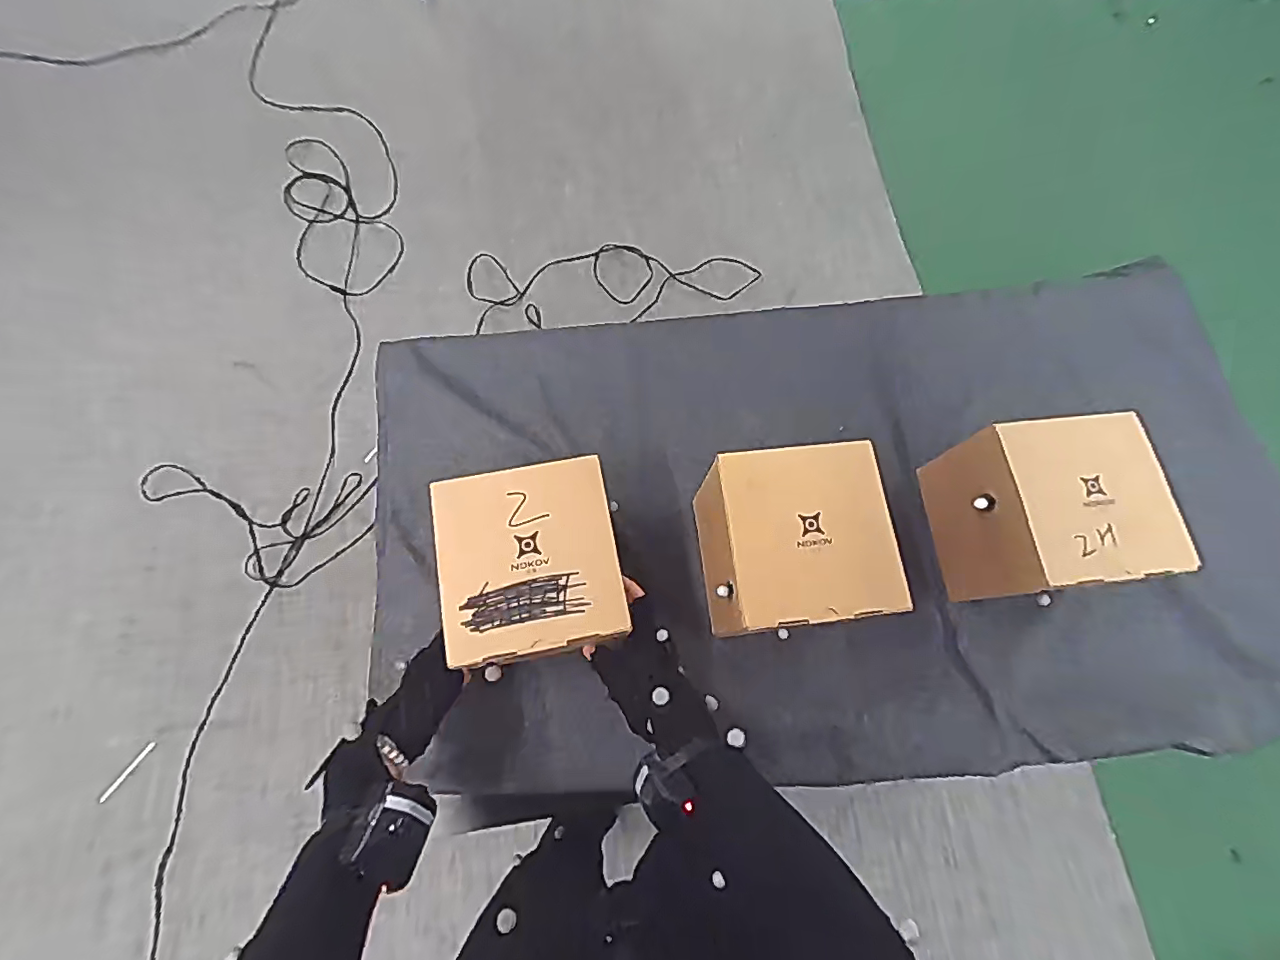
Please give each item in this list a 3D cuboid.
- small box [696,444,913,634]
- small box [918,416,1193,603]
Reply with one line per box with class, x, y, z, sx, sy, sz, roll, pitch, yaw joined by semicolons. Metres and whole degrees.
small box;0.166;0.074;0.609;0.168;0.176;0.179;-5;74;-6
small box;0.461;0.042;0.636;0.168;0.176;0.179;-5;73;-5
